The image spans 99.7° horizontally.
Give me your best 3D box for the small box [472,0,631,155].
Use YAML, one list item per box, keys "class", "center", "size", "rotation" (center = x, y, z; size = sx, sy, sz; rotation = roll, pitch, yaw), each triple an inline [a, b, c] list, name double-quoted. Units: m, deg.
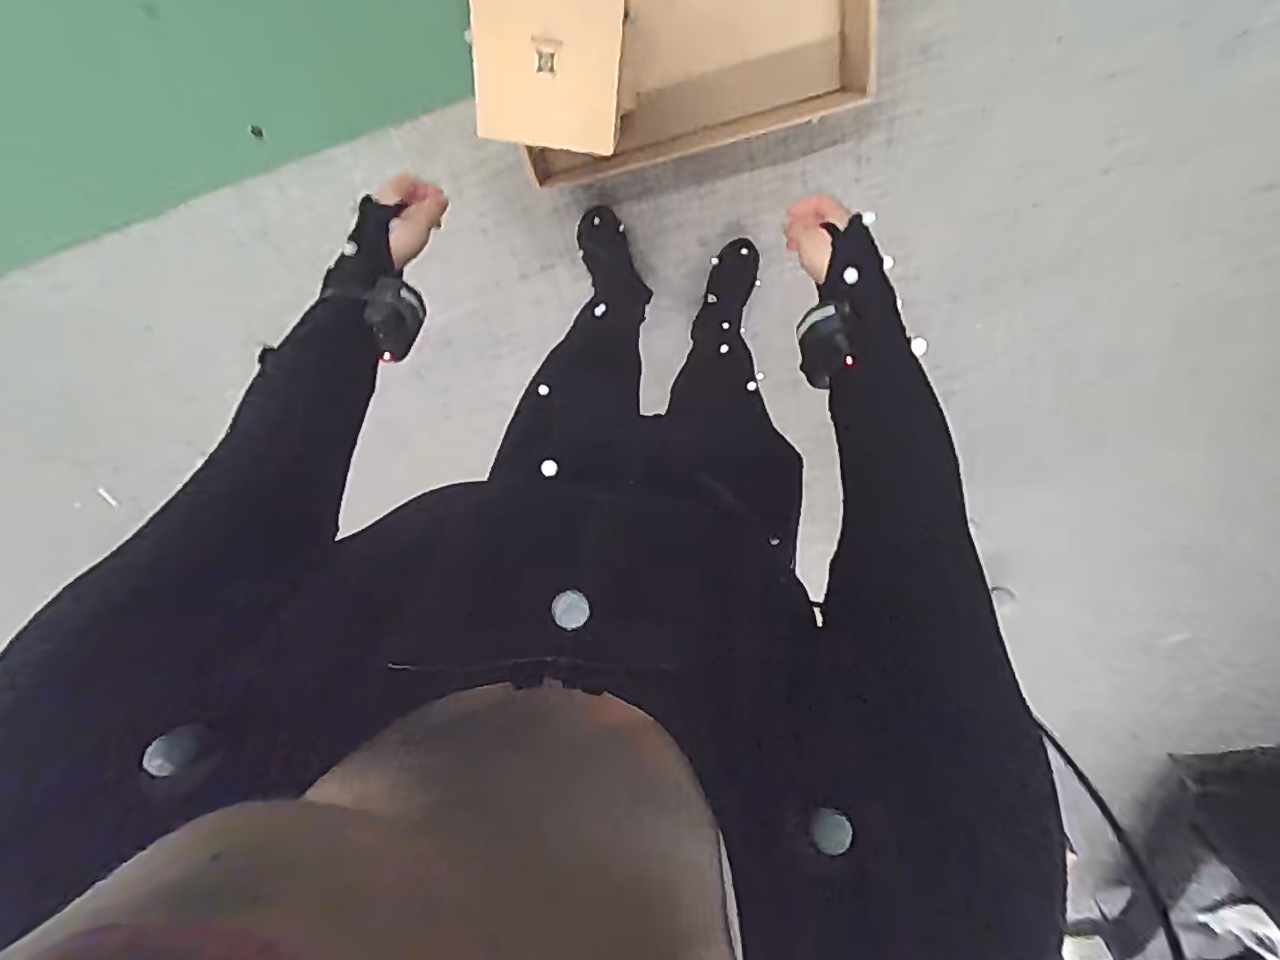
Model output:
- class: "small box"
  center: [-0.102, -0.519, 0.663]
  size: [0.168, 0.176, 0.179]
  rotation: [5, 126, -4]
